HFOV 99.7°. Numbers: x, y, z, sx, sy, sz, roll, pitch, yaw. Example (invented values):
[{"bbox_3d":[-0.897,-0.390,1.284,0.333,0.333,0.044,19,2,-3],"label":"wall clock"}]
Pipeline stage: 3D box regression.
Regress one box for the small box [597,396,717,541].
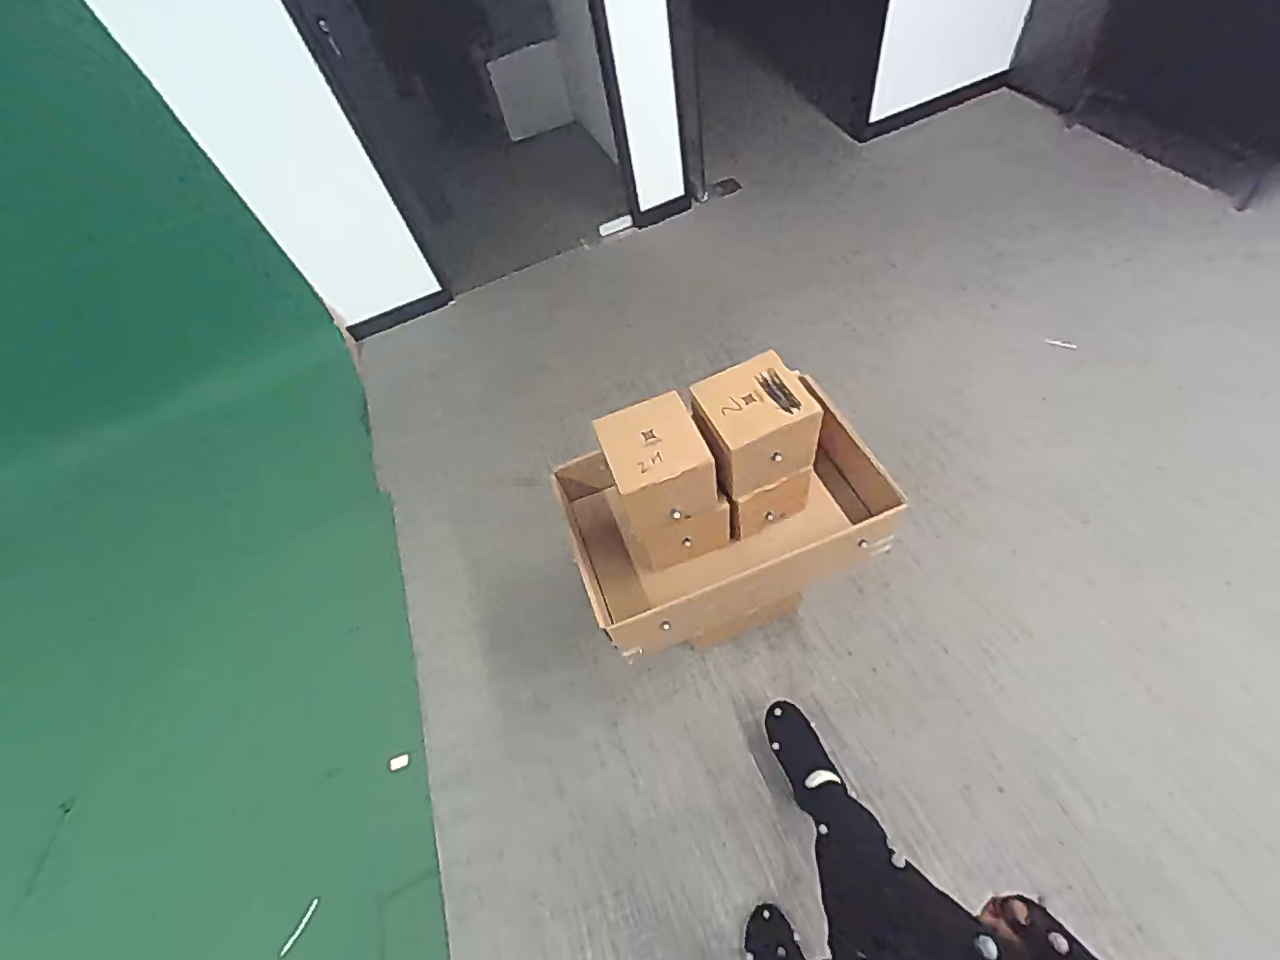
[{"bbox_3d":[0.033,-0.018,0.993,0.168,0.176,0.179,-20,55,-3],"label":"small box"}]
